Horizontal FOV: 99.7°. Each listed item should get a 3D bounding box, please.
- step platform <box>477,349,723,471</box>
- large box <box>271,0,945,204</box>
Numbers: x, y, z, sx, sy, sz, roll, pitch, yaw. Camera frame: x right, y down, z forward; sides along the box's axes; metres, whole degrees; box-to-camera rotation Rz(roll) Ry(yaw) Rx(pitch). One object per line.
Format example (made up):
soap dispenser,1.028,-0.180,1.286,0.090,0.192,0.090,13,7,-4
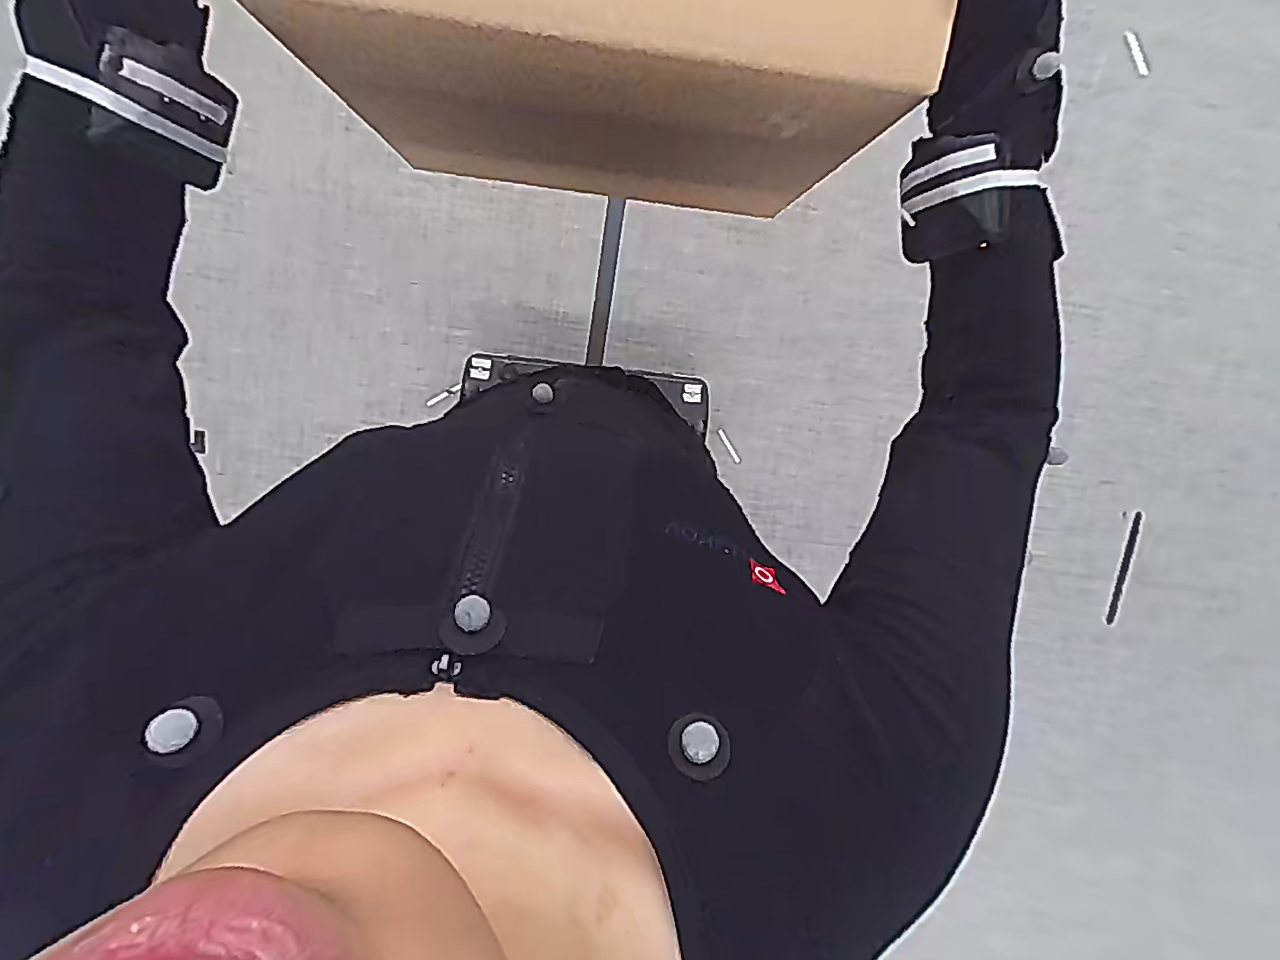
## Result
step platform,-0.110,-0.199,1.543,0.684,0.204,0.286,5,100,-4
large box,-0.018,-0.438,0.423,0.408,0.320,0.320,4,104,-6
